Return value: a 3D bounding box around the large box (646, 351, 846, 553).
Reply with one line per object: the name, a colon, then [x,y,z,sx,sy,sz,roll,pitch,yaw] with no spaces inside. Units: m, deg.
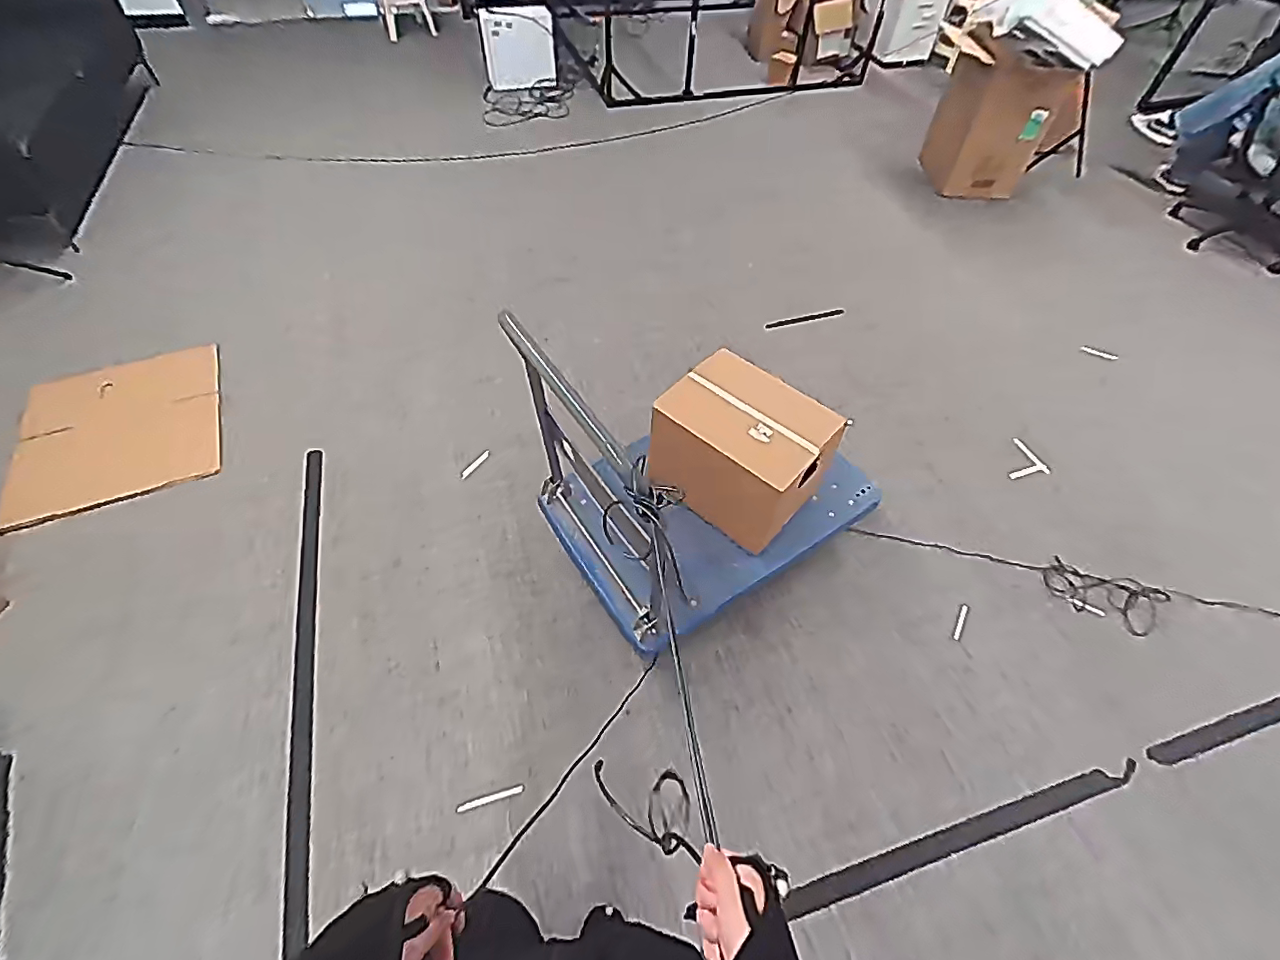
large box: [0.269,-0.079,1.493,0.408,0.320,0.320,38,61,21]
